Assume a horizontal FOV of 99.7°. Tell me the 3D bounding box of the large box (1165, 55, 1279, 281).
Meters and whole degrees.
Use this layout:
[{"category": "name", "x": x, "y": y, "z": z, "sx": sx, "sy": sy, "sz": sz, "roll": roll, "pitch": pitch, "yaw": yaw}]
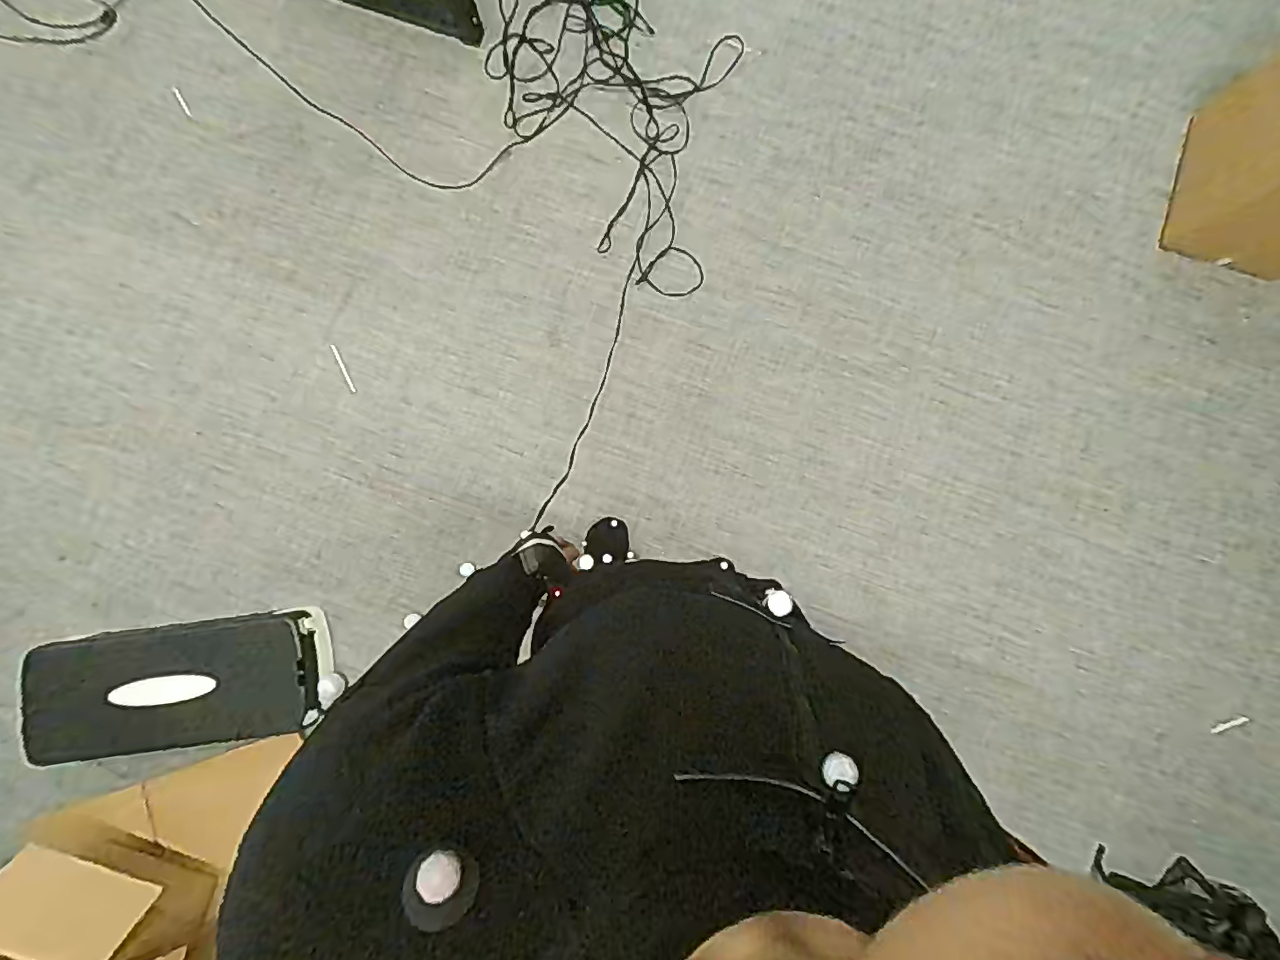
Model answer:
[{"category": "large box", "x": 1.589, "y": -0.765, "z": 1.299, "sx": 0.320, "sy": 0.320, "sz": 0.408, "roll": 17, "pitch": 86, "yaw": 3}]
